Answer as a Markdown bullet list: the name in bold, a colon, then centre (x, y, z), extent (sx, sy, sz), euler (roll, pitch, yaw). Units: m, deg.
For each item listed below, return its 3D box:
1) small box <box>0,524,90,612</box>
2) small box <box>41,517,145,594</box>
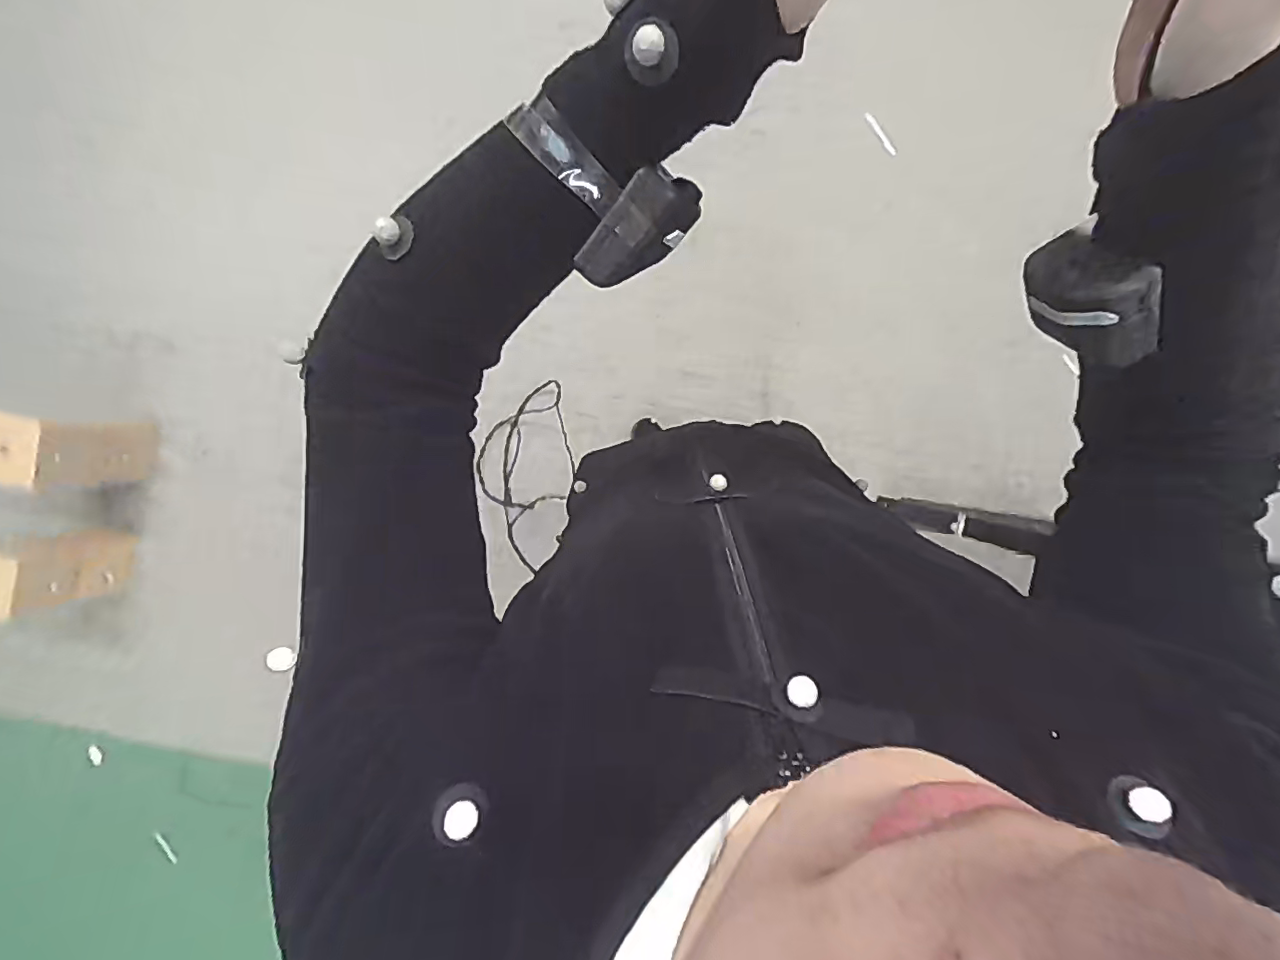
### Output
- **small box**: centre (-1.620, 0.222, 1.420), extent (0.179, 0.176, 0.168), euler (17, 93, 0)
- **small box**: centre (-1.617, 0.215, 1.585), extent (0.179, 0.176, 0.168), euler (15, 94, 1)
